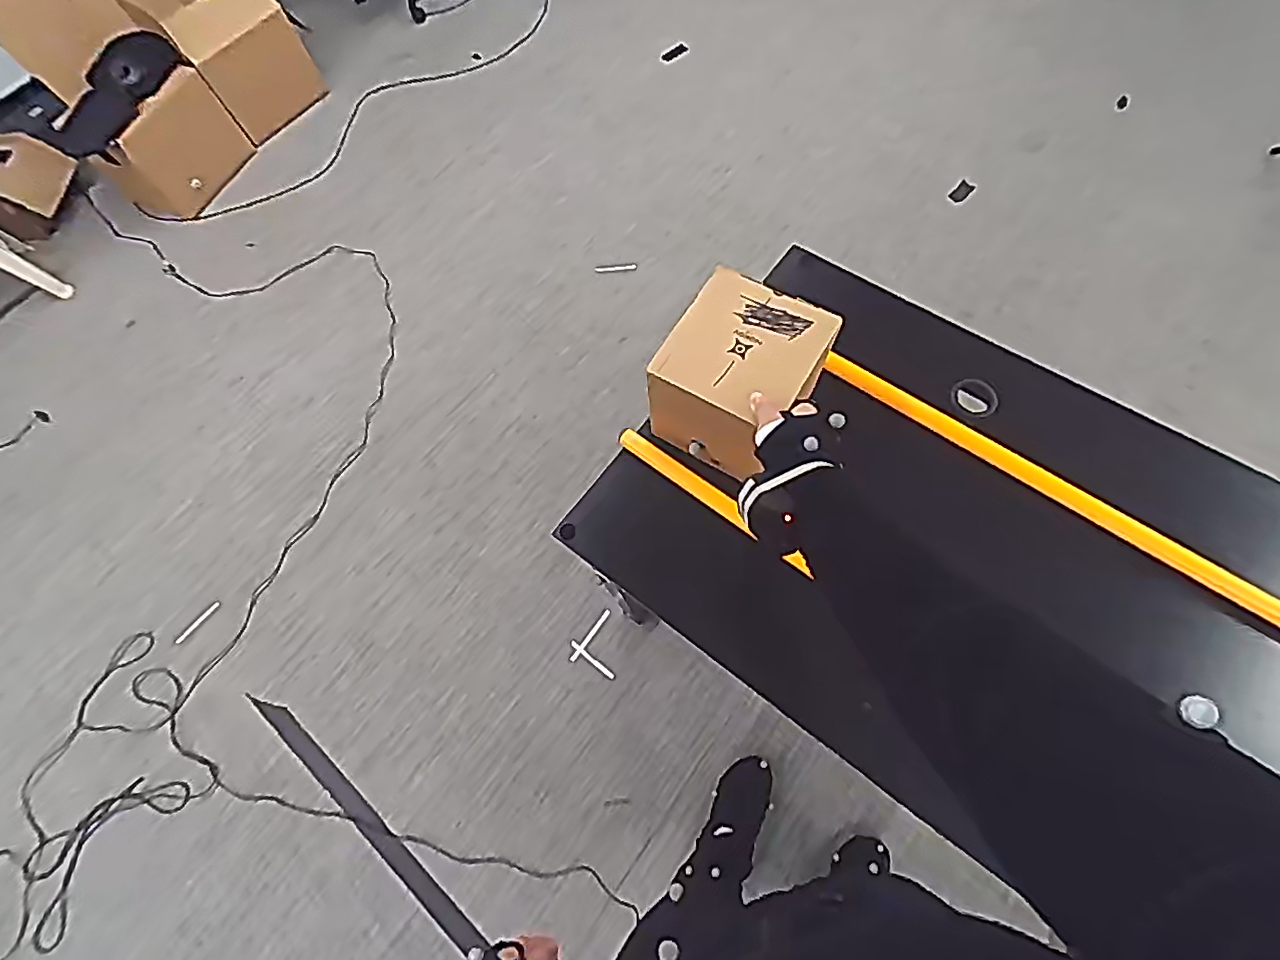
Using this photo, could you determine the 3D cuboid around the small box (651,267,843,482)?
[{"bbox_3d":[0.129,-0.128,0.698,0.168,0.176,0.179,30,74,15],"label":"small box"}]
